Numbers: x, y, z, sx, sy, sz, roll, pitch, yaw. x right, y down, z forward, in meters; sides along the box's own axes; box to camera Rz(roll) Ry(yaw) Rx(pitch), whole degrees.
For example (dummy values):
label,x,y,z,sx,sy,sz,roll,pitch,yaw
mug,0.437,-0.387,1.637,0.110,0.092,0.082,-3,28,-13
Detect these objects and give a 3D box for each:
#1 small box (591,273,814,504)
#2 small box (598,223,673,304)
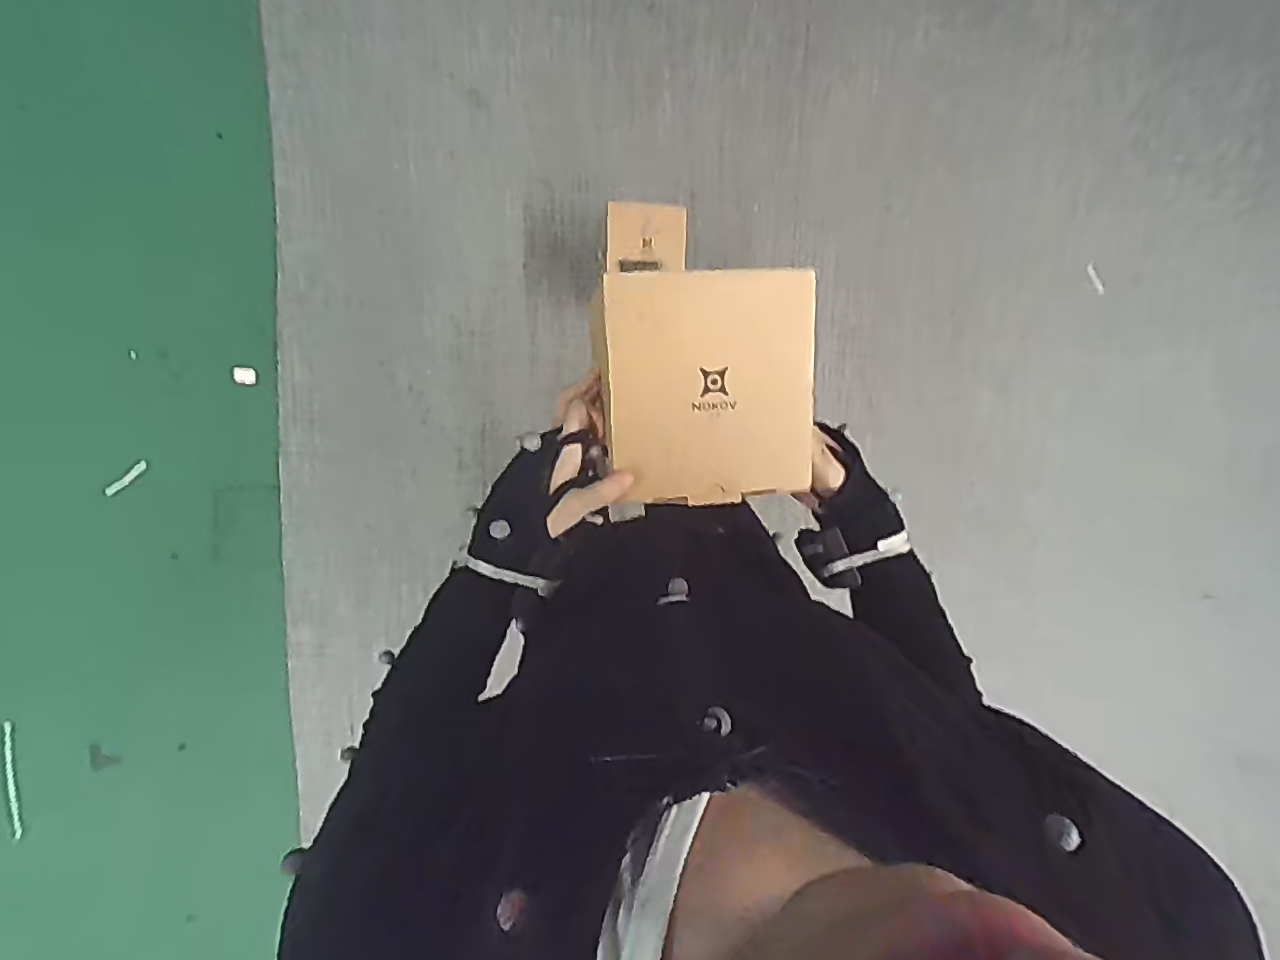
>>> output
label,x,y,z,sx,sy,sz,roll,pitch,yaw
small box,0.046,-0.086,0.503,0.168,0.176,0.179,-5,103,-8
small box,-0.017,-0.514,1.345,0.168,0.176,0.179,1,98,-8
